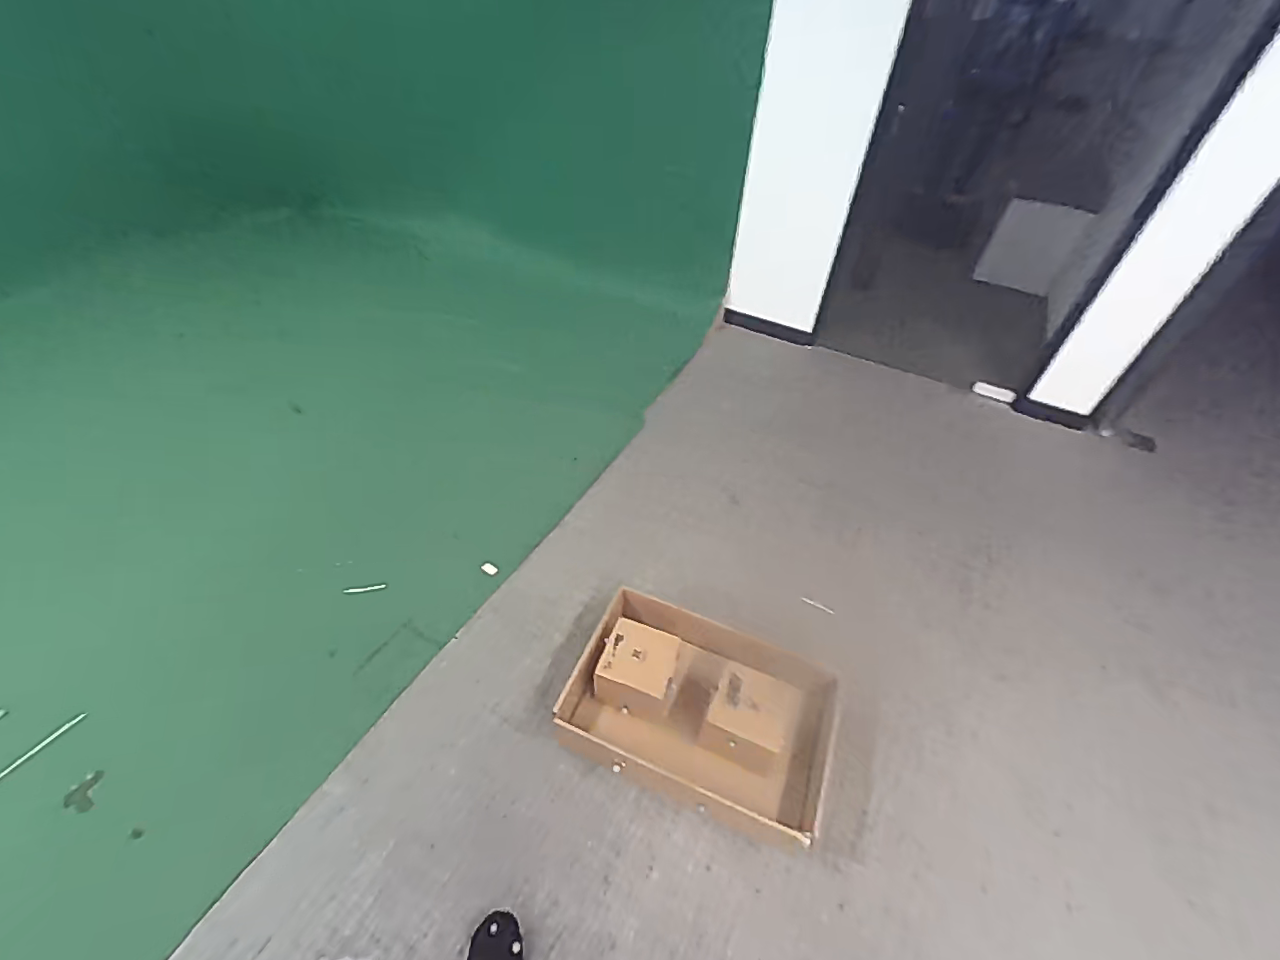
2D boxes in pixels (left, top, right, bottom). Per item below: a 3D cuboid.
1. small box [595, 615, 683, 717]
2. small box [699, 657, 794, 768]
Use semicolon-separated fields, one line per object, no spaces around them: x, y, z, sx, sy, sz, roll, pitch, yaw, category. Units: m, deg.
-0.005;0.482;1.387;0.179;0.176;0.168;18;47;11;small box
0.254;0.571;1.318;0.179;0.176;0.168;20;49;15;small box
